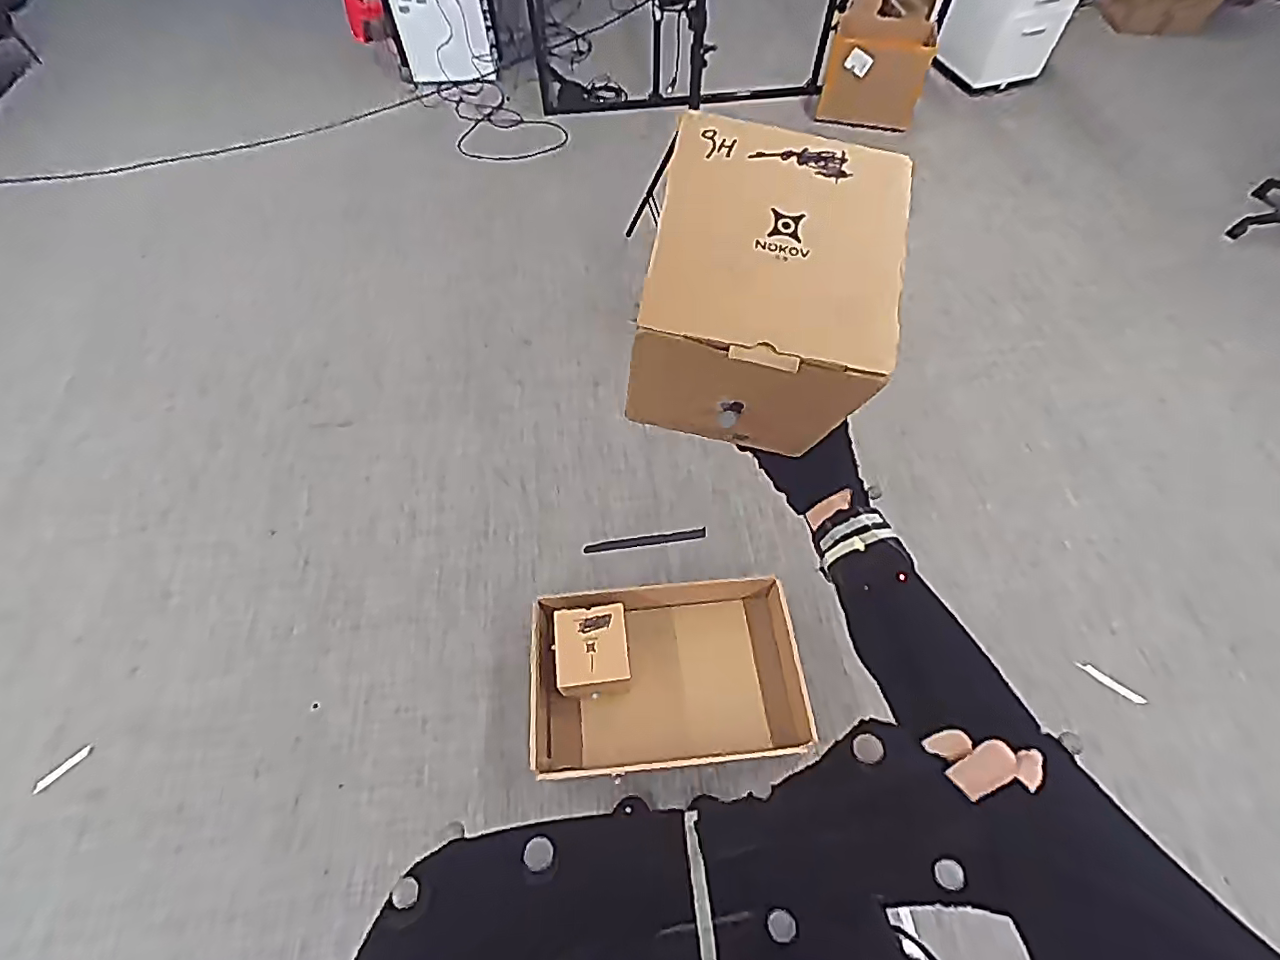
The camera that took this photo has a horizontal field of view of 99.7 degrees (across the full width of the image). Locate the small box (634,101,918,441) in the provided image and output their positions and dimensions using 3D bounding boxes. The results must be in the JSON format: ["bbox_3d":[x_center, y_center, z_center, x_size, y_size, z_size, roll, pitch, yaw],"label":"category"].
[{"bbox_3d":[0.091,-0.145,0.431,0.168,0.176,0.179,12,76,-1],"label":"small box"}]
